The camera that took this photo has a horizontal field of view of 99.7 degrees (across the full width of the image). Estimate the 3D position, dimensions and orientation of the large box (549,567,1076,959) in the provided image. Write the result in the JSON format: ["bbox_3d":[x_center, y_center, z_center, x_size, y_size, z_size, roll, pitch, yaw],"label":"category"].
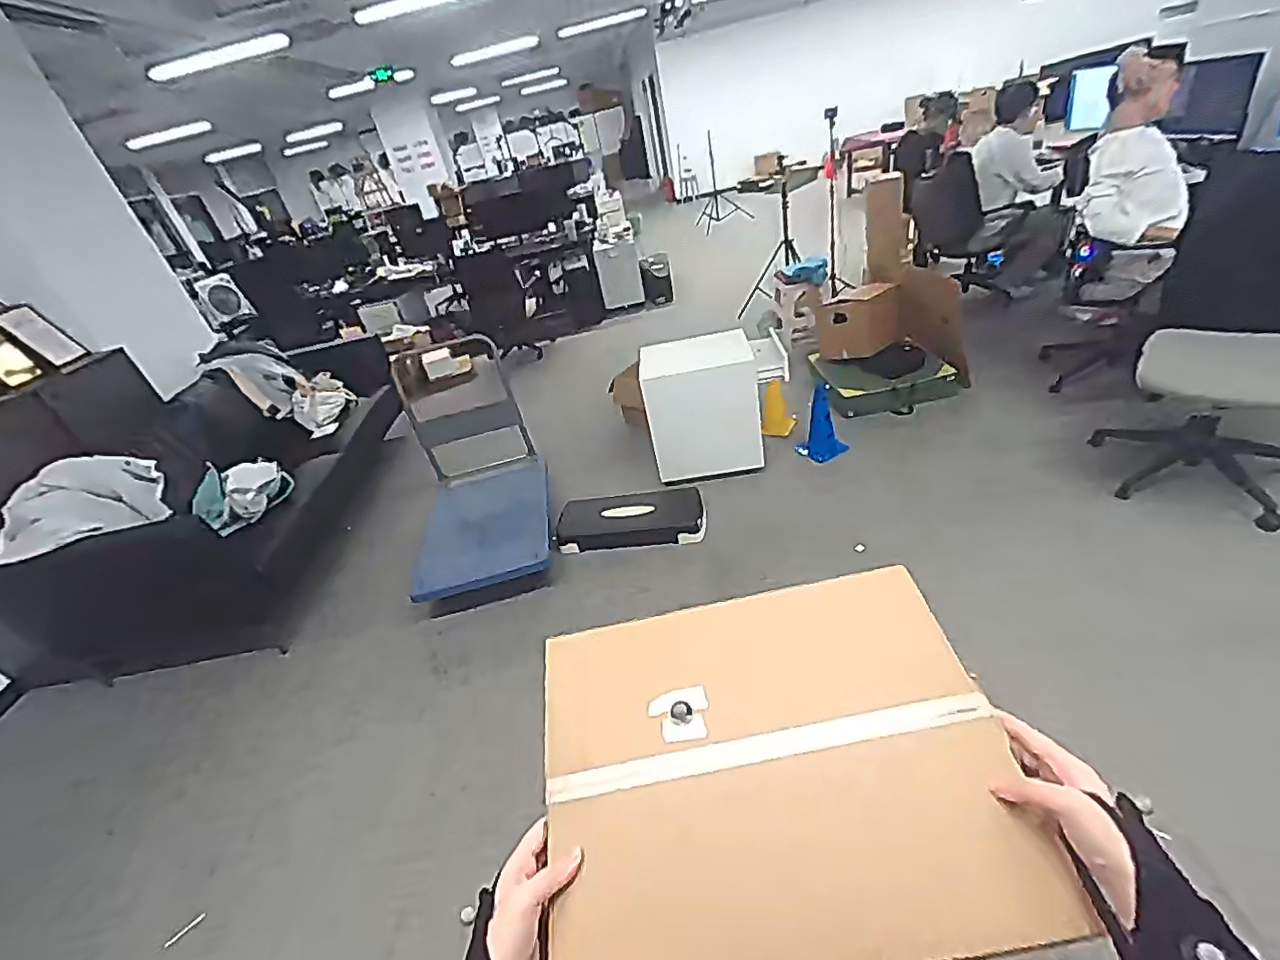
[{"bbox_3d":[0.142,0.350,0.614,0.408,0.320,0.320,-14,46,4],"label":"large box"}]
